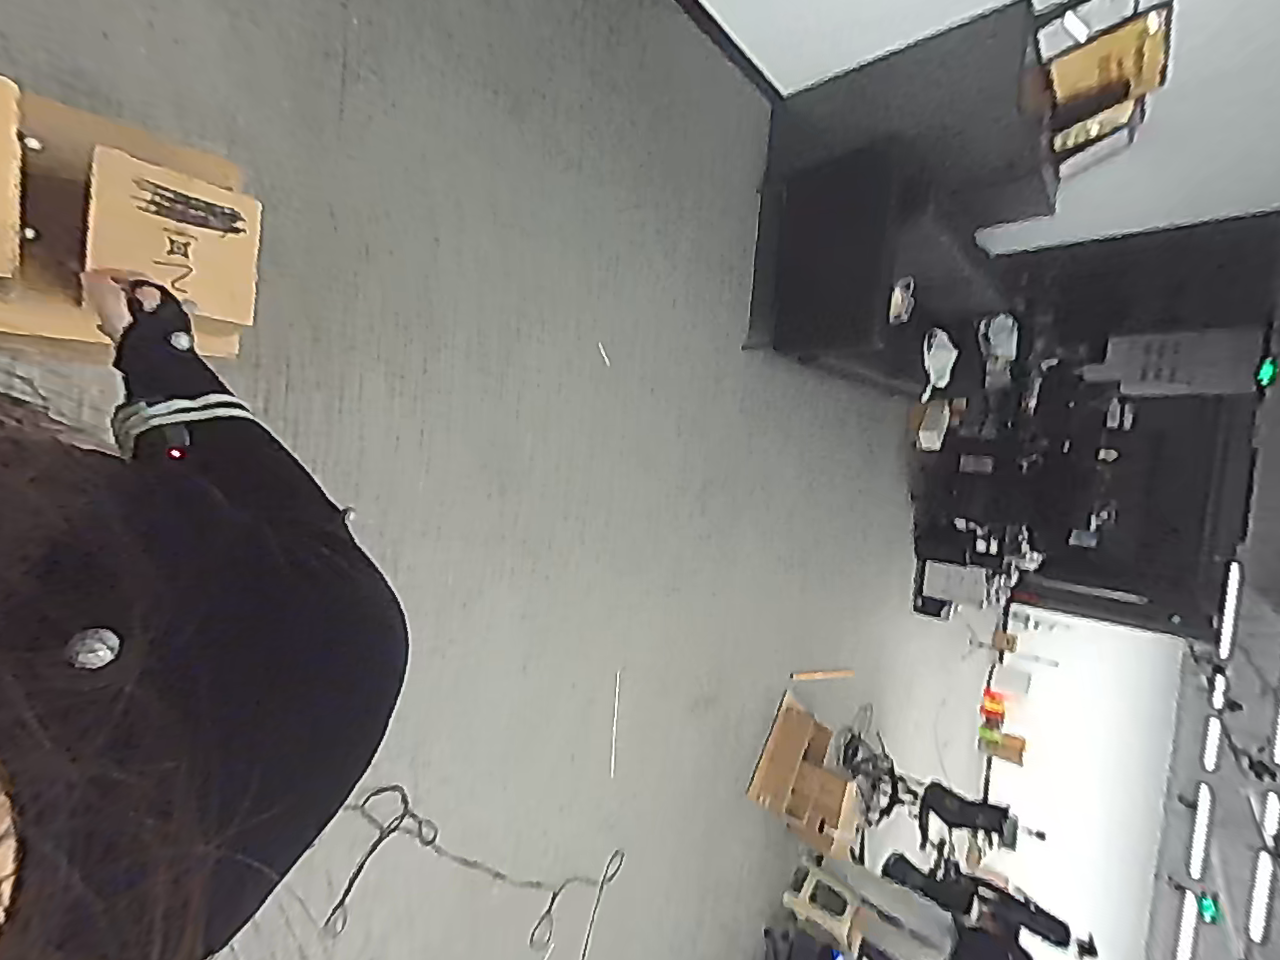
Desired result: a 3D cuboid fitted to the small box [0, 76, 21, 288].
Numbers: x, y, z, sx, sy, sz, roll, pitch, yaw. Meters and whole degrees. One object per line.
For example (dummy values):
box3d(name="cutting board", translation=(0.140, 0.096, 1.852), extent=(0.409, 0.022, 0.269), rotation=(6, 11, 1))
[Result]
box3d(name="small box", translation=(-0.682, -0.284, 0.482), extent=(0.168, 0.176, 0.179), rotation=(1, 96, -49))

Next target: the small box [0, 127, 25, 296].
box3d(name="small box", translation=(-0.801, -0.315, 0.589), extent=(0.168, 0.176, 0.179), rotation=(2, 97, -49))
